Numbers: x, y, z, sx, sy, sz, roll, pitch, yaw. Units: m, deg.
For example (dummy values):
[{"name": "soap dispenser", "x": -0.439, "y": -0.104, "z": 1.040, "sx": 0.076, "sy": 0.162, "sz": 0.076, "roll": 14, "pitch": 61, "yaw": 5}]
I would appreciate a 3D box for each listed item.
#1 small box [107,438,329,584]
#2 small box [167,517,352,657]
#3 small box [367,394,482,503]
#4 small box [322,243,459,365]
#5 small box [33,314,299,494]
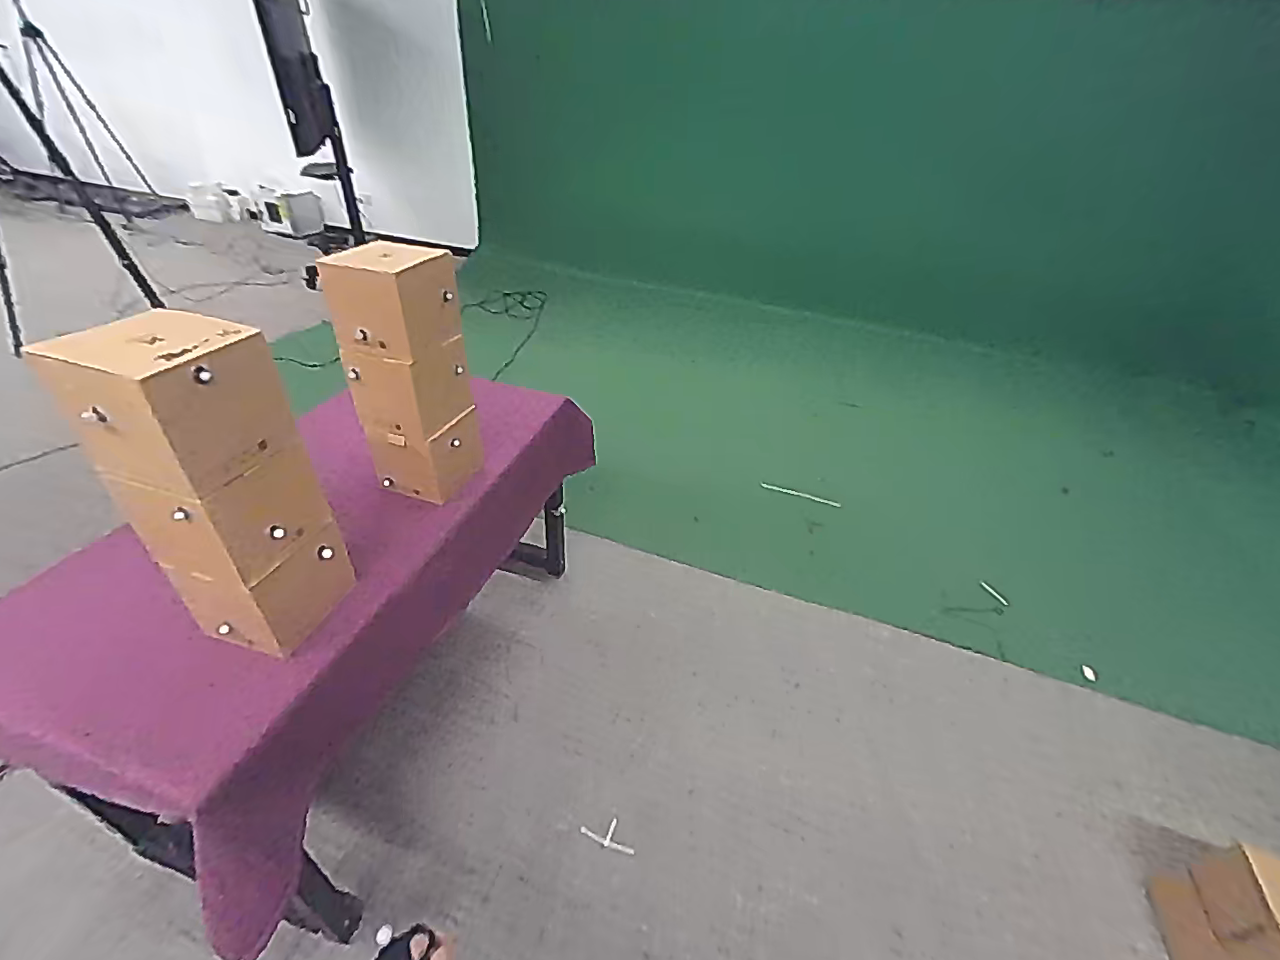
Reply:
[{"name": "small box", "x": -0.613, "y": 0.030, "z": 0.810, "sx": 0.179, "sy": 0.176, "sz": 0.168, "roll": 14, "pitch": 37, "yaw": 11}, {"name": "small box", "x": -0.617, "y": 0.160, "z": 0.908, "sx": 0.168, "sy": 0.176, "sz": 0.179, "roll": 12, "pitch": 37, "yaw": 12}, {"name": "small box", "x": -0.479, "y": -0.072, "z": 1.235, "sx": 0.168, "sy": 0.176, "sz": 0.179, "roll": 15, "pitch": 37, "yaw": 13}, {"name": "small box", "x": -0.470, "y": -0.345, "z": 1.052, "sx": 0.168, "sy": 0.176, "sz": 0.179, "roll": 13, "pitch": 37, "yaw": 12}, {"name": "small box", "x": -0.601, "y": -0.102, "z": 0.712, "sx": 0.179, "sy": 0.176, "sz": 0.168, "roll": 13, "pitch": 37, "yaw": 12}]
